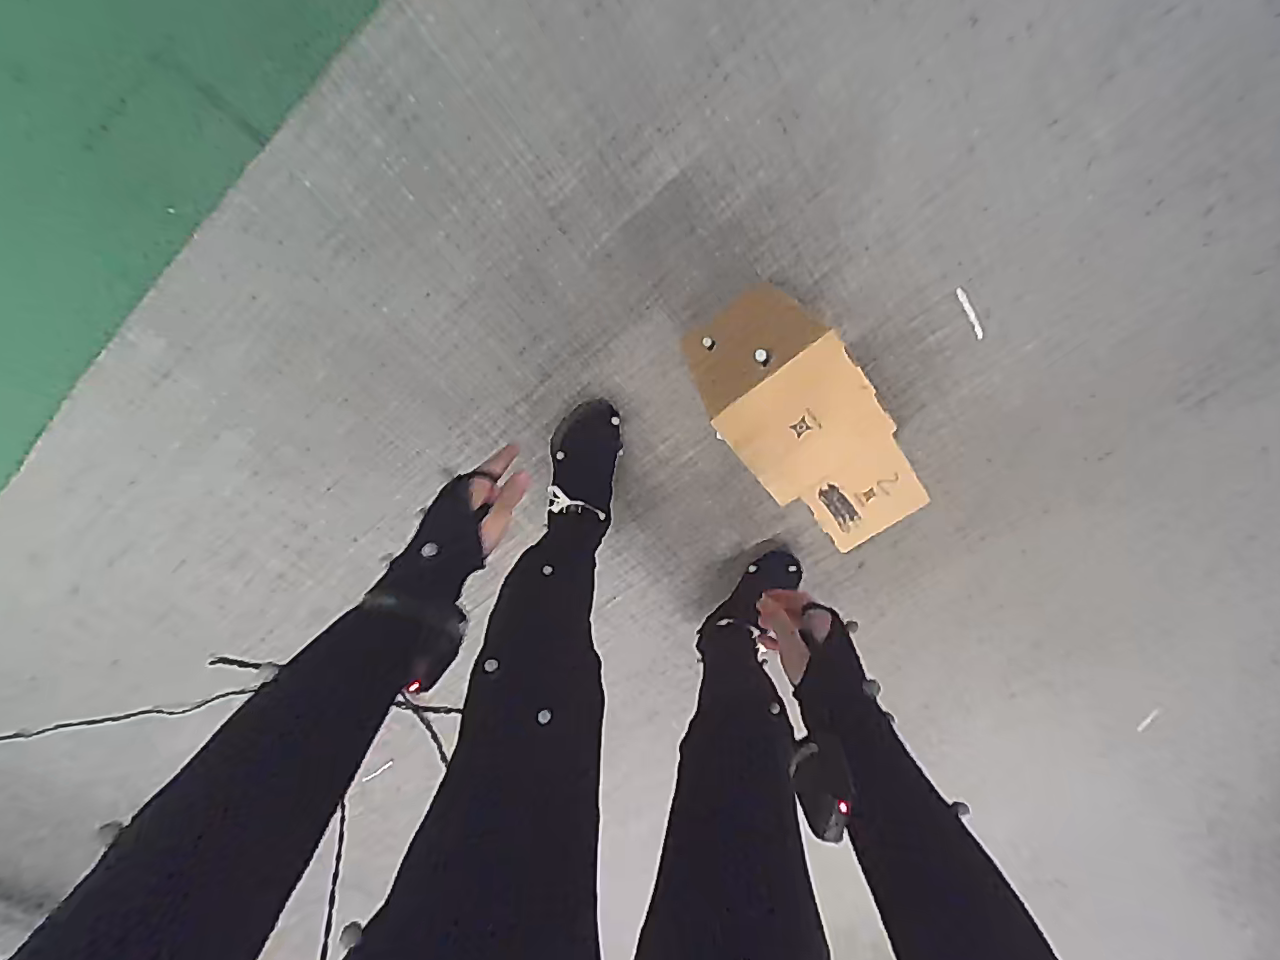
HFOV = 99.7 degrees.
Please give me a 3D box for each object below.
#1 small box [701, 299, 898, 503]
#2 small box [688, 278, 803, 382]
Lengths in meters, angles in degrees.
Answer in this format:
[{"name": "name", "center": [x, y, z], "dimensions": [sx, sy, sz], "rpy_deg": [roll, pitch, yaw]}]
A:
[{"name": "small box", "center": [0.194, -0.108, 0.711], "dimensions": [0.179, 0.176, 0.168], "rpy_deg": [-36, 115, 17]}, {"name": "small box", "center": [0.189, -0.189, 0.851], "dimensions": [0.179, 0.176, 0.168], "rpy_deg": [-33, 116, 16]}]
